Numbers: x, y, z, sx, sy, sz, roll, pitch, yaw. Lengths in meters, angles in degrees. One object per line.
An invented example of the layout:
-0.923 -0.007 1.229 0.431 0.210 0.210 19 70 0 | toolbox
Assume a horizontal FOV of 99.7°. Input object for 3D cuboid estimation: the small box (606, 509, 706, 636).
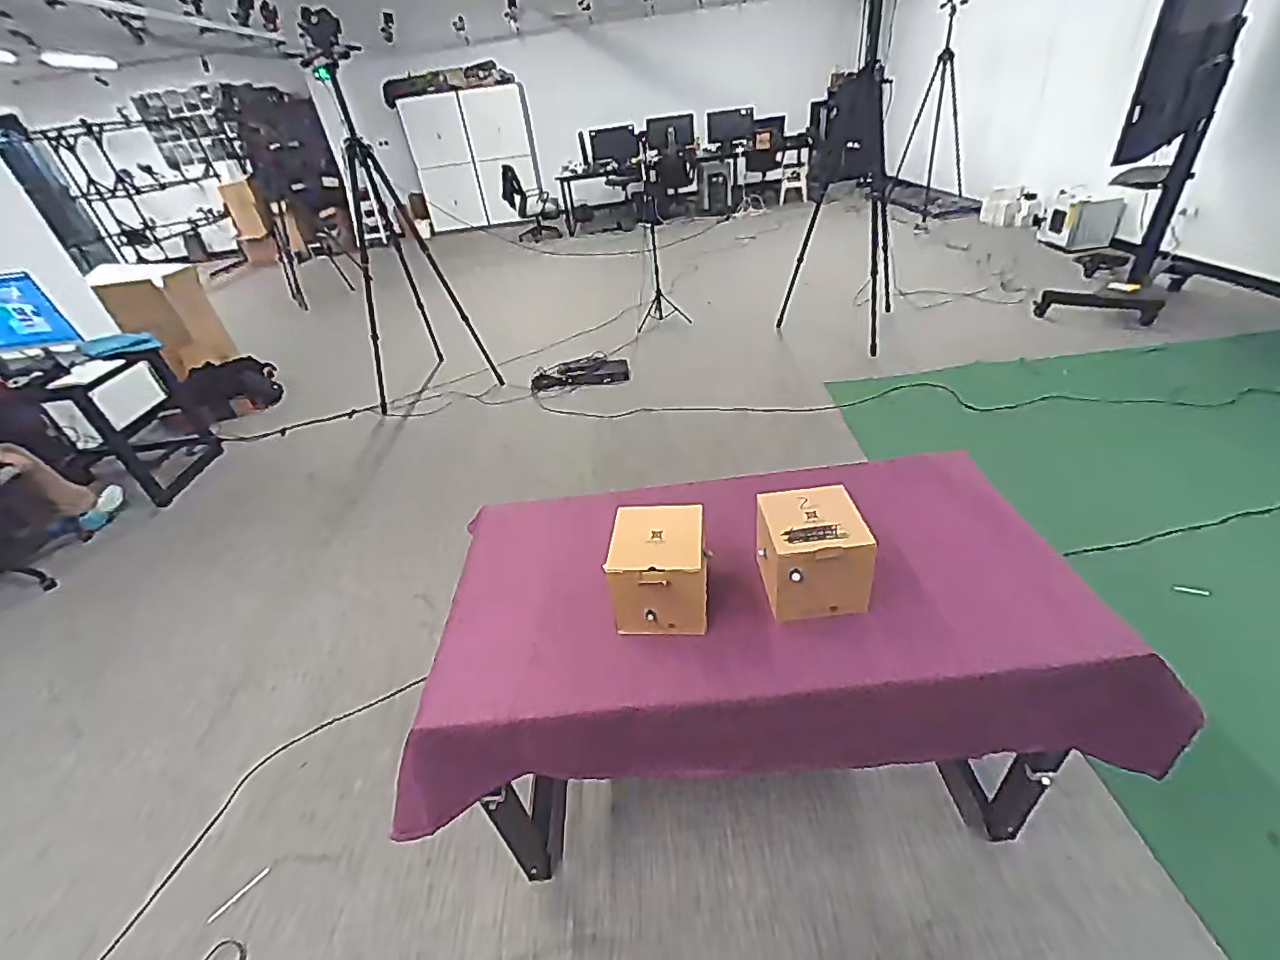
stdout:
0.038 0.174 1.037 0.168 0.176 0.179 -2 37 9 | small box
